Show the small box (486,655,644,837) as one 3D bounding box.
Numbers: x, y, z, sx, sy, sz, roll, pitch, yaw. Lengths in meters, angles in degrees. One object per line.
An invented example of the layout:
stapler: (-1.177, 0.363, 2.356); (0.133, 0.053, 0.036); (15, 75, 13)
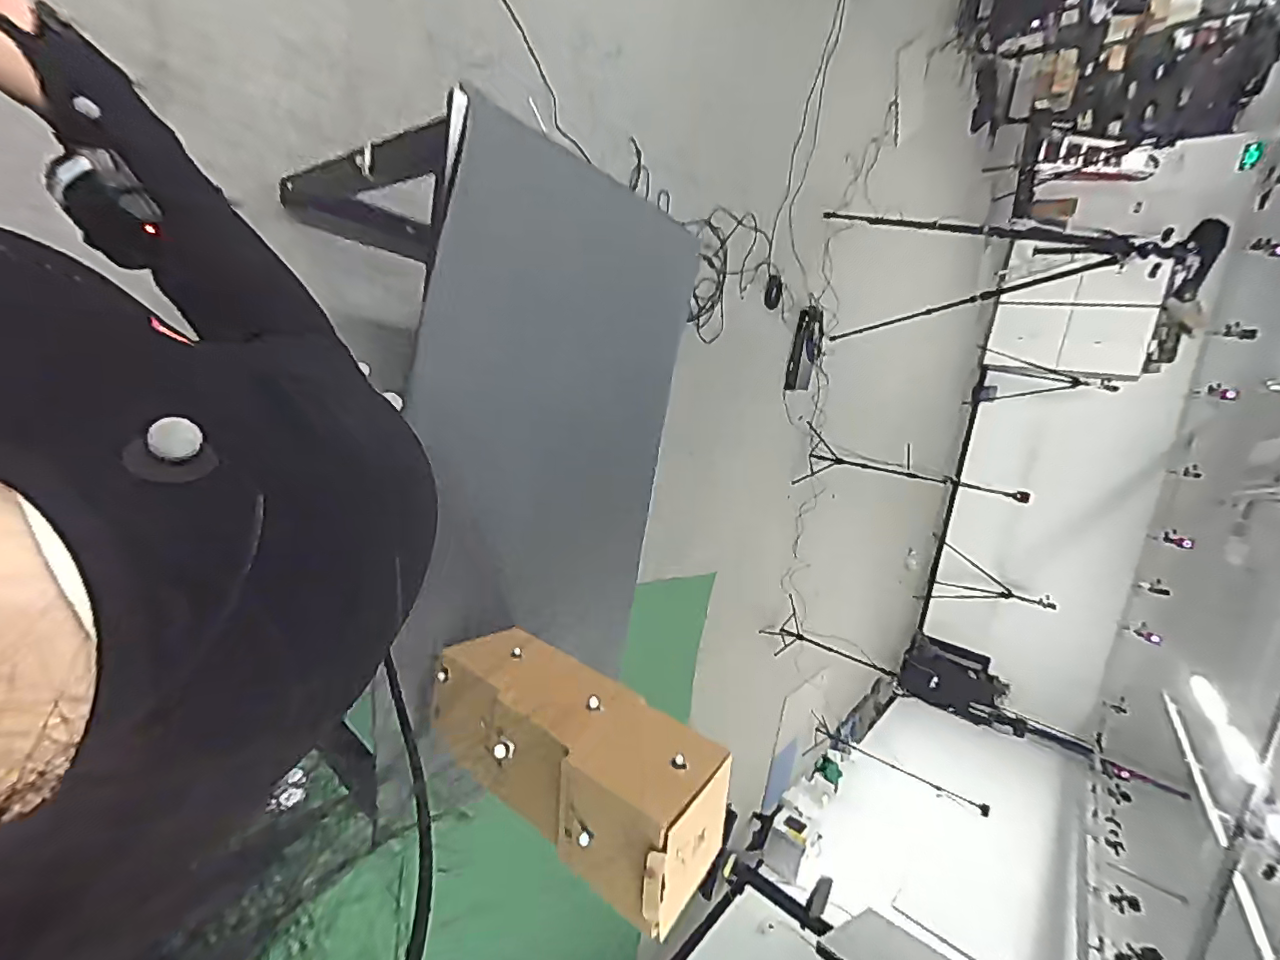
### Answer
small box: (-0.119, 0.405, 0.863); (0.179, 0.176, 0.168); (-7, 106, -52)

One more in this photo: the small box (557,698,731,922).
small box: (0.007, 0.441, 0.760); (0.179, 0.176, 0.168); (-12, 110, -52)

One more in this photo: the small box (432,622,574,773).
small box: (-0.244, 0.373, 0.960); (0.179, 0.176, 0.168); (-2, 103, -55)
